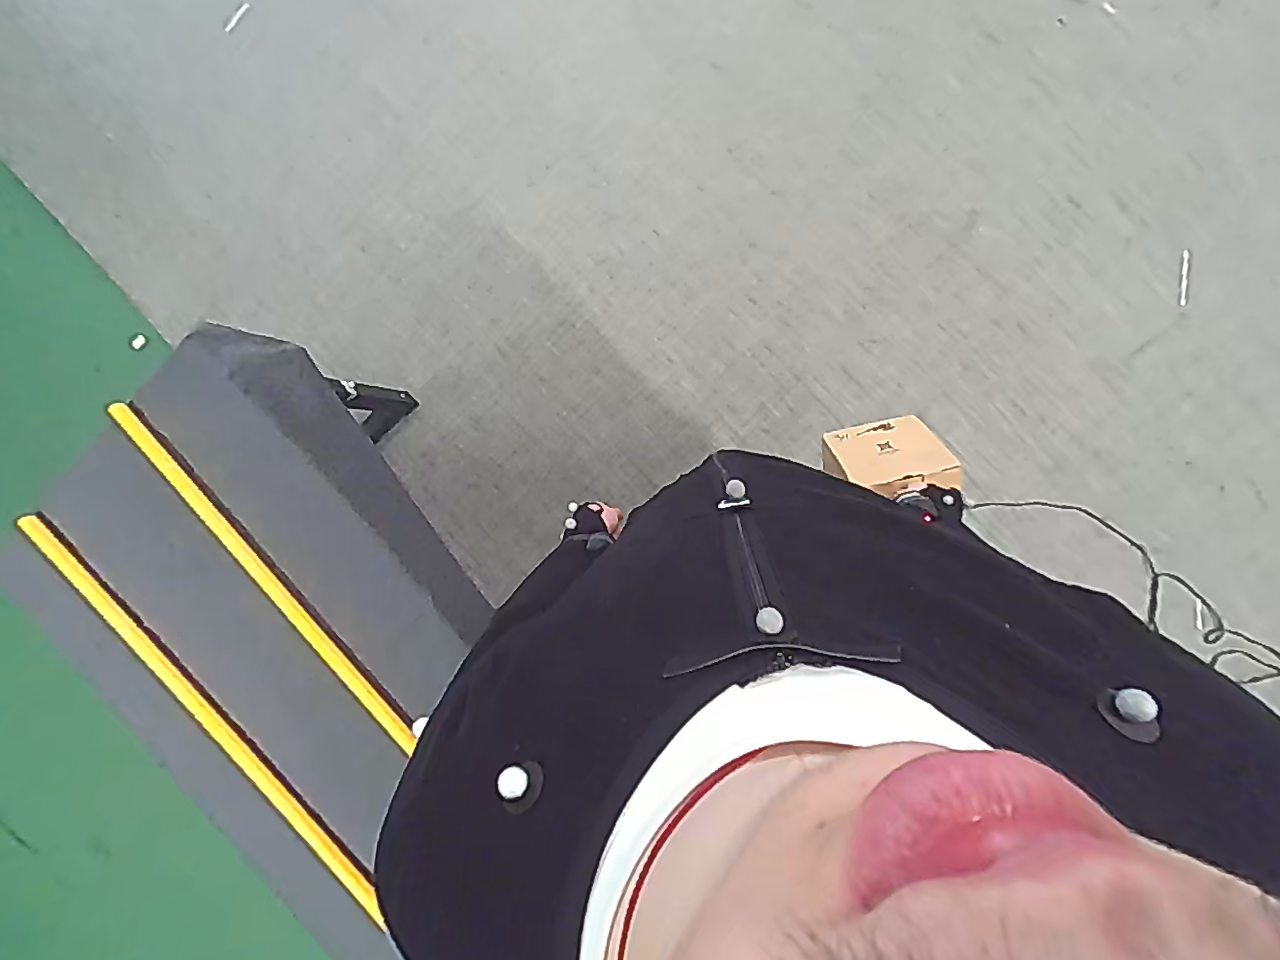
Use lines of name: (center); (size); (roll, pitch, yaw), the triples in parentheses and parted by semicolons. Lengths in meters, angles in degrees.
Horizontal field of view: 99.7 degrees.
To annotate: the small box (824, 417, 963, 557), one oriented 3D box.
small box: (0.434, 0.017, 0.946); (0.168, 0.179, 0.176); (-13, 123, 5)
